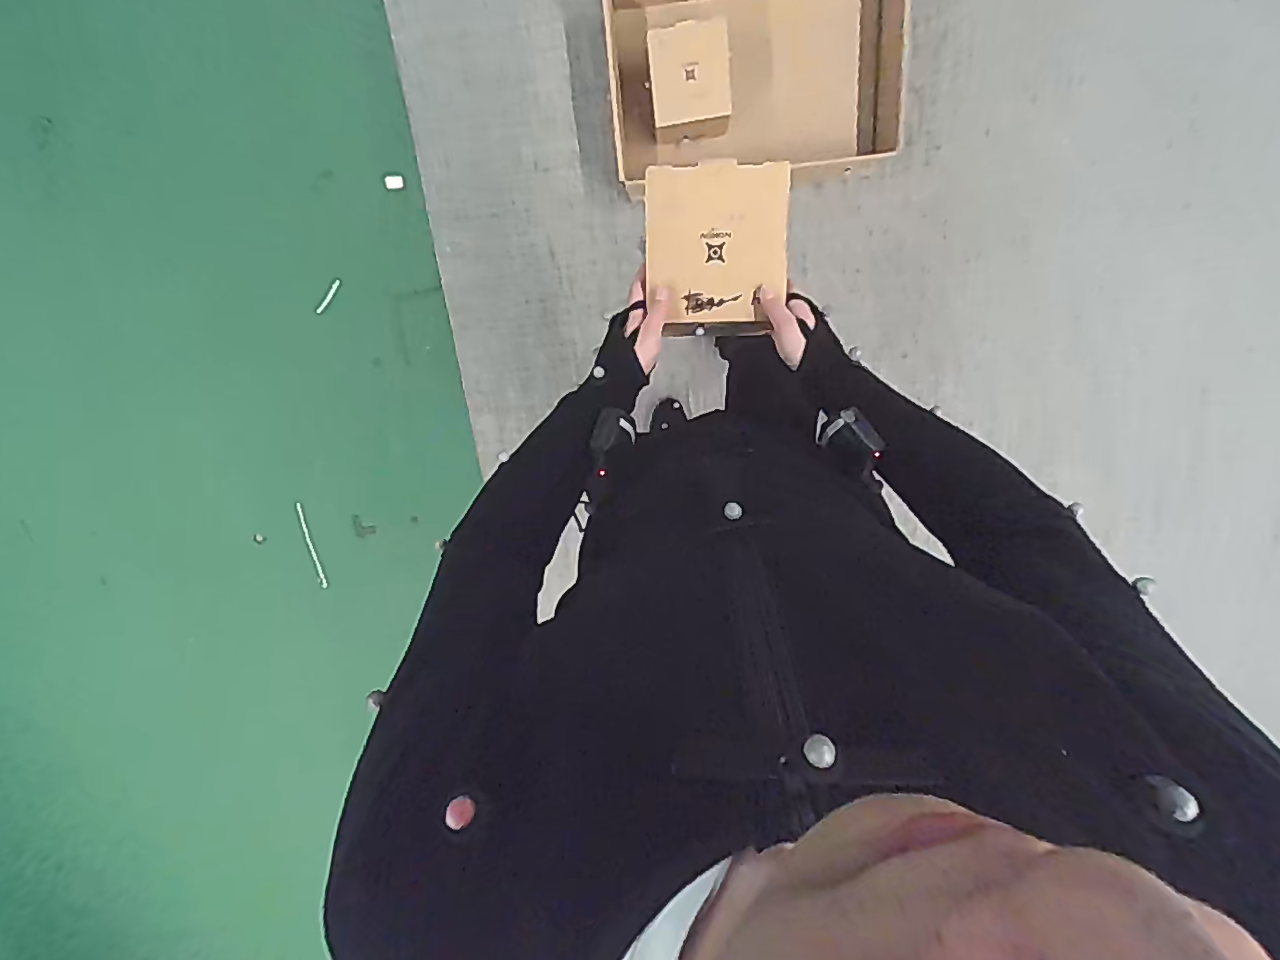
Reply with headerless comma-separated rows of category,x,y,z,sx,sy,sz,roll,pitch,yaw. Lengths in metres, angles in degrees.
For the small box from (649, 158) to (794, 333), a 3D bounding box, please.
small box,0.096,-0.290,0.702,0.168,0.176,0.179,0,100,3
